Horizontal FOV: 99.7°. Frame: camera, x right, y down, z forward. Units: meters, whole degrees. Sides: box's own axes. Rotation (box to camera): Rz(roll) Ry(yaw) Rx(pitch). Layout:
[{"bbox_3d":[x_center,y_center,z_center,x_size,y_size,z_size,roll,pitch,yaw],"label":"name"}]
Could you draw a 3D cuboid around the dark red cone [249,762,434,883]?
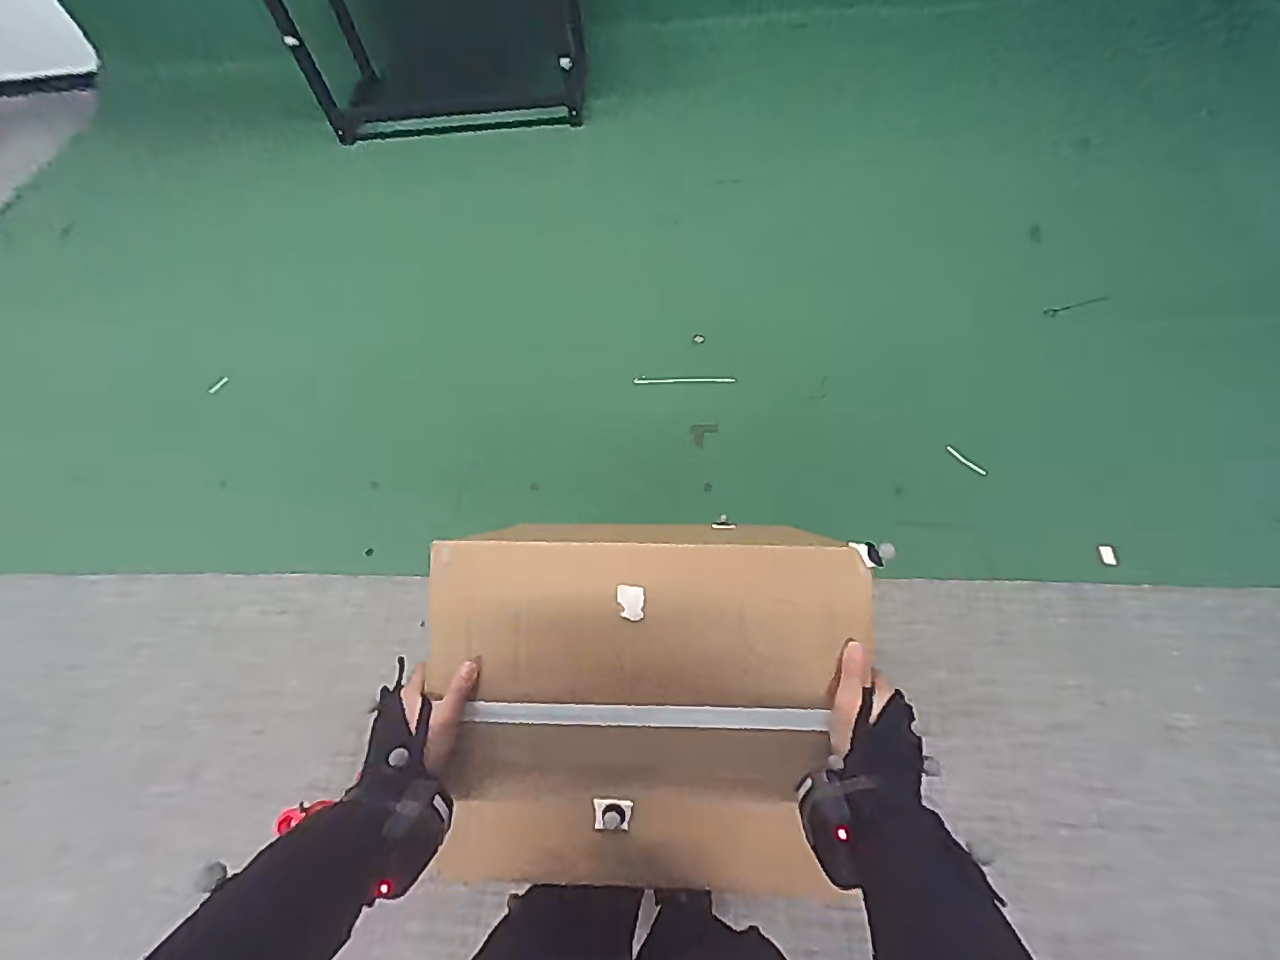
[{"bbox_3d":[-0.551,0.613,0.983,0.202,0.394,0.201,-7,56,3],"label":"dark red cone"}]
